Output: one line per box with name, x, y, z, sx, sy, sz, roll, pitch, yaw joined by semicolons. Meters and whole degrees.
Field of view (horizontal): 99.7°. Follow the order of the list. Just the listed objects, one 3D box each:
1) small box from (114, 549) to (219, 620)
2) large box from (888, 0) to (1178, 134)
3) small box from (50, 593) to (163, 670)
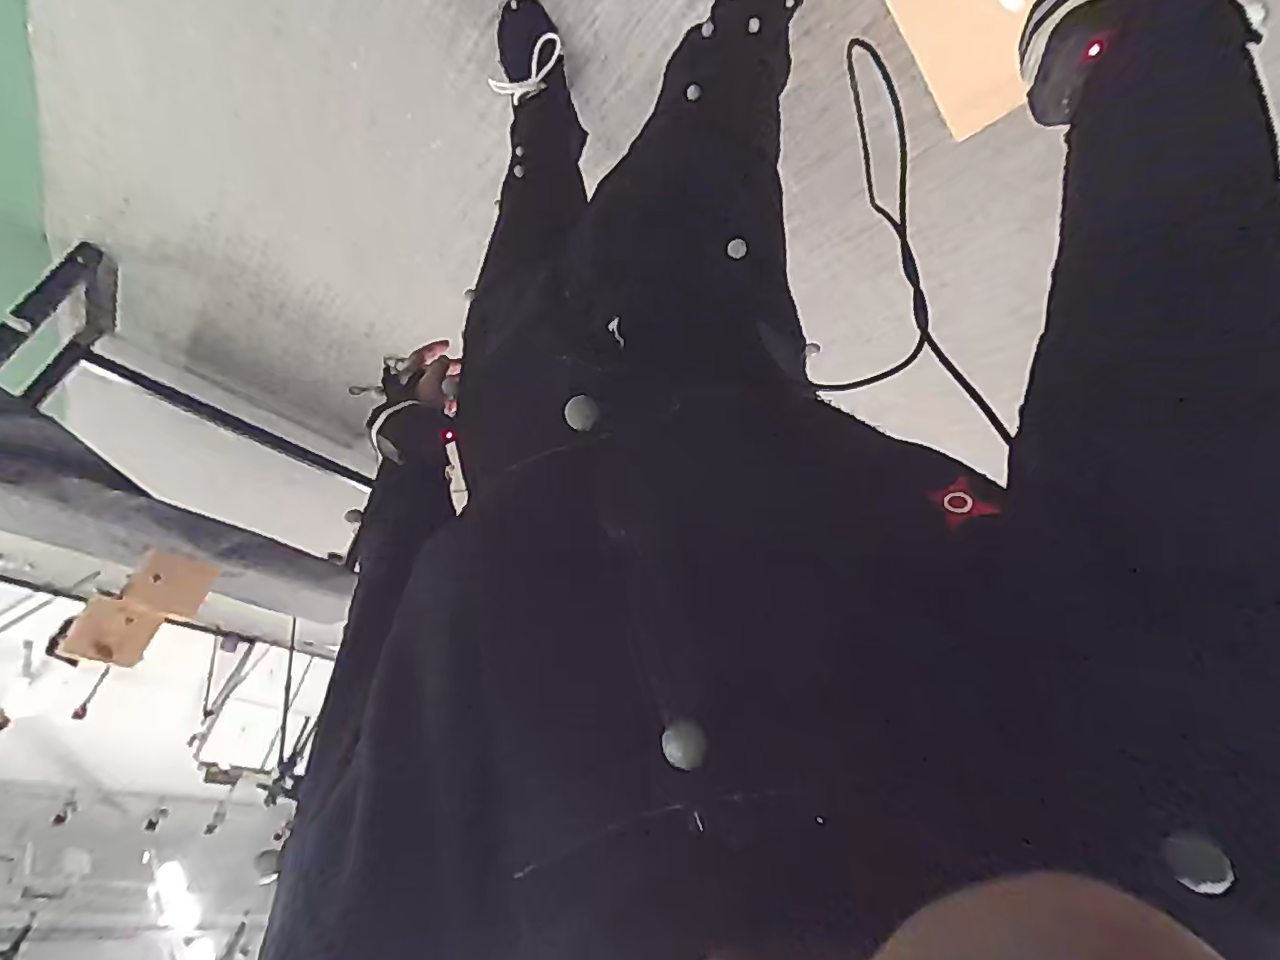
small box;-1.436;0.314;1.640;0.168;0.176;0.179;-13;144;38
large box;0.410;-0.711;0.582;0.408;0.320;0.320;31;146;-33
small box;-1.519;0.433;1.546;0.179;0.176;0.168;-15;141;39
